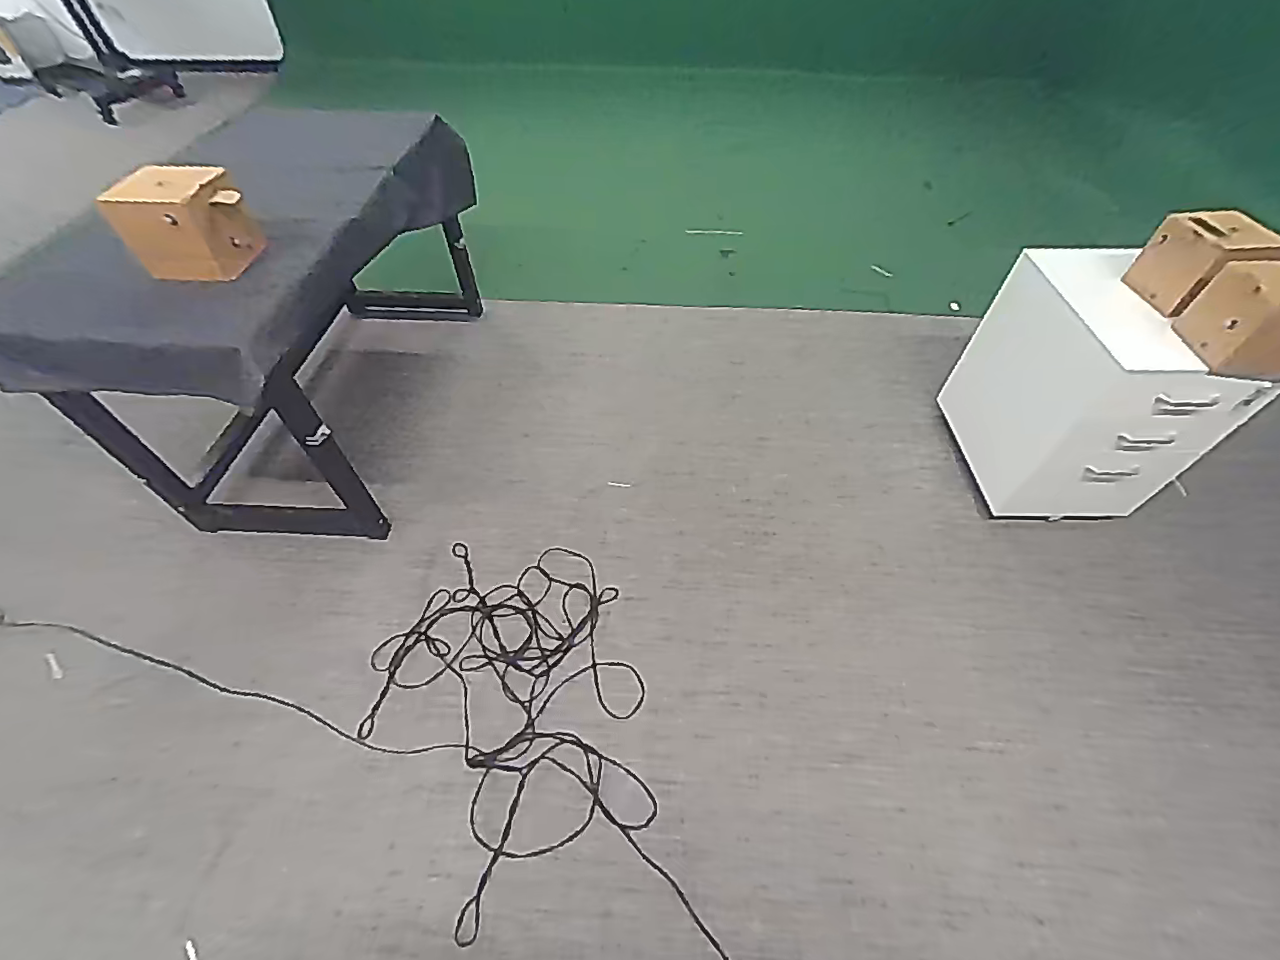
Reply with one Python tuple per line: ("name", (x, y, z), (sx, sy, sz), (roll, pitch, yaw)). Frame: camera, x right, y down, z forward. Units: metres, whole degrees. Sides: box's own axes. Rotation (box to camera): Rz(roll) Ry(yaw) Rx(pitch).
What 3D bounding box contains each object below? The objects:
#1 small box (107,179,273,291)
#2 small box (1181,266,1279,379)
("small box", (-0.941, -0.520, 1.151), (0.179, 0.176, 0.168), (2, 50, 2))
("small box", (1.310, -0.329, 1.137), (0.179, 0.176, 0.168), (3, 51, 2))
